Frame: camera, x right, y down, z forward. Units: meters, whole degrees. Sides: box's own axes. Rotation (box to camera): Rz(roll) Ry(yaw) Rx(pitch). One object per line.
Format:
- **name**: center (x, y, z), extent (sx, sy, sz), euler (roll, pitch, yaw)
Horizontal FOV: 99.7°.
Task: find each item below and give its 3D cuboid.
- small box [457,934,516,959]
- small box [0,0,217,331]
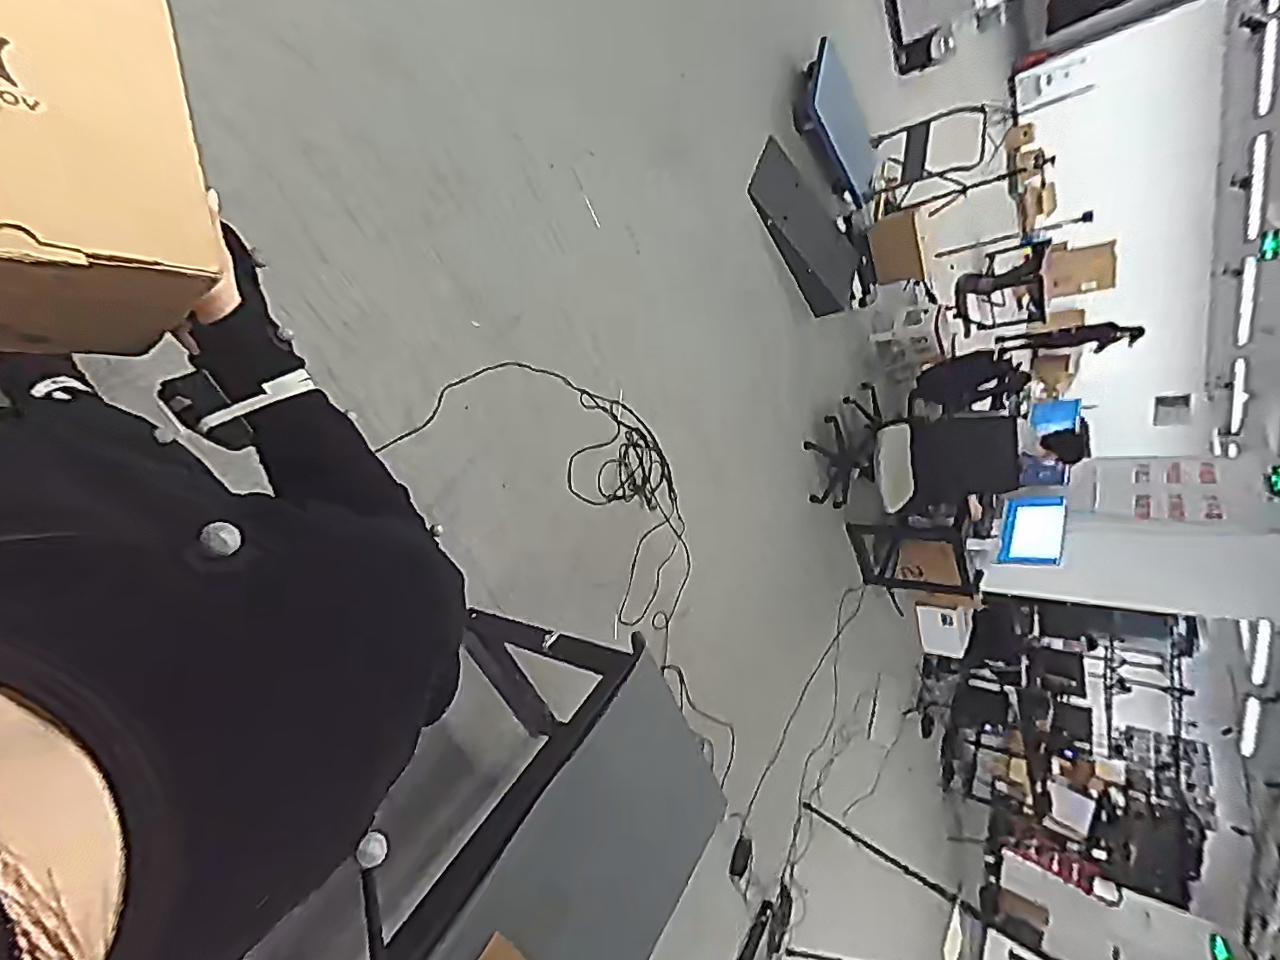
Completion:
- **small box**: center (-0.230, 0.881, 0.857), extent (0.168, 0.176, 0.179), euler (-43, 122, -40)
- **small box**: center (-0.371, -0.195, 0.288), extent (0.168, 0.176, 0.179), euler (-15, 96, -56)
